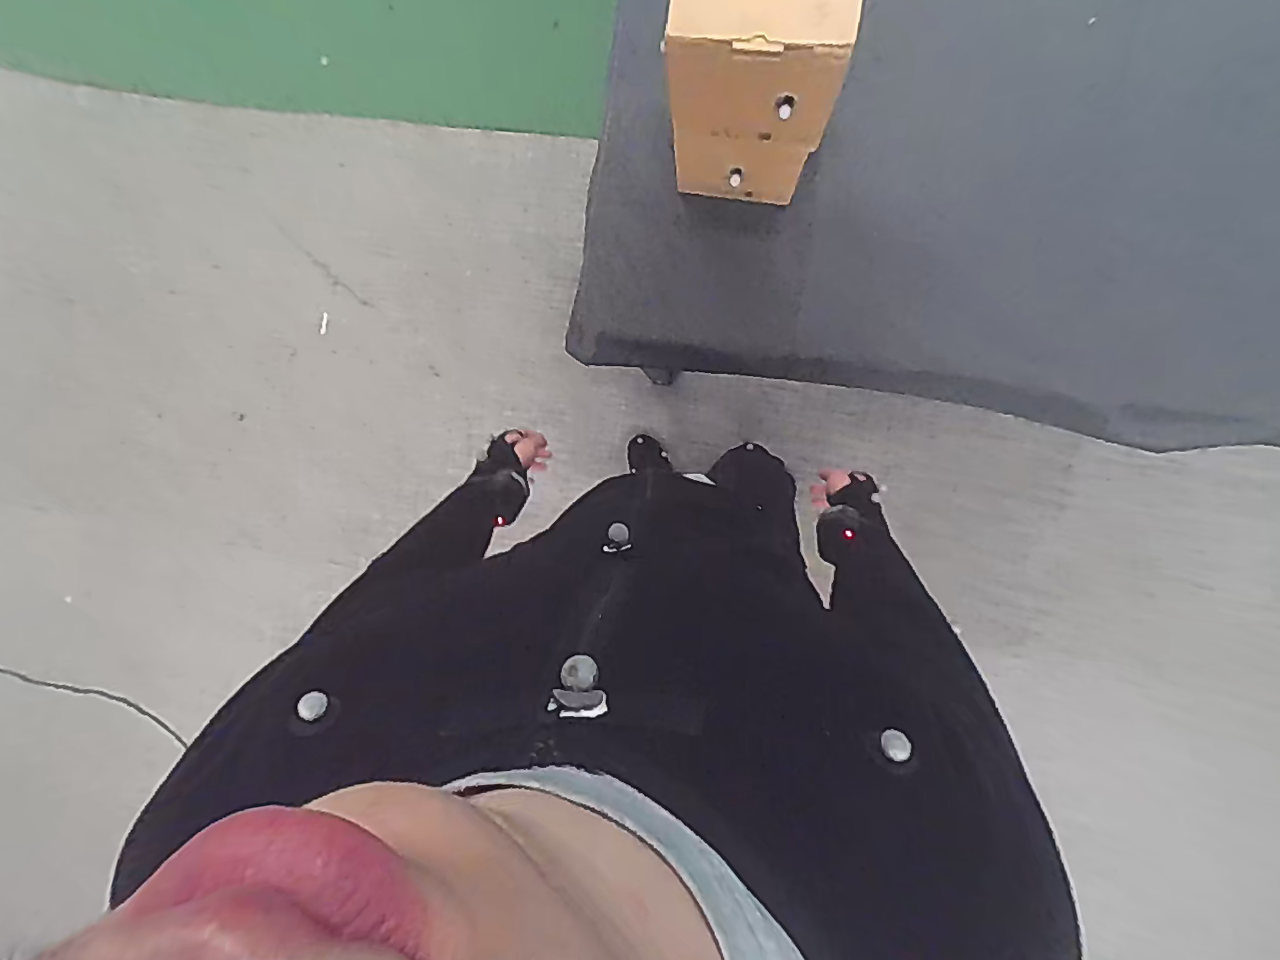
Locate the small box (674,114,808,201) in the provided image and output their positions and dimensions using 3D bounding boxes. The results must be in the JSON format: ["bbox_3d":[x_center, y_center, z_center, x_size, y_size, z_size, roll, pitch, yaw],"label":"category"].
[{"bbox_3d":[0.142,-0.490,0.702,0.168,0.176,0.179,10,95,5],"label":"small box"}]

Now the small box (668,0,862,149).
[{"bbox_3d":[0.124,-0.466,0.542,0.168,0.176,0.179,8,93,5],"label":"small box"}]
